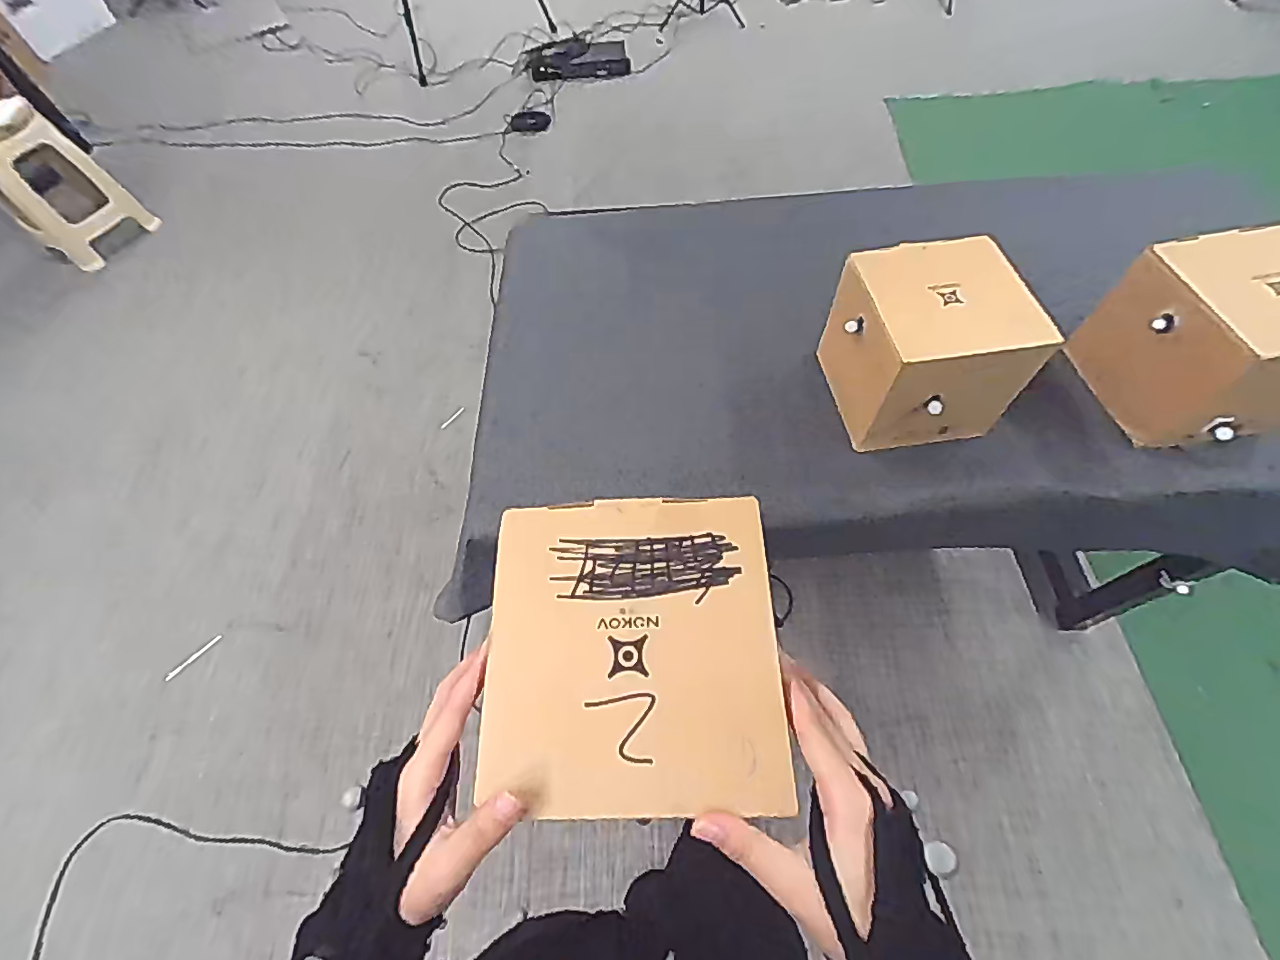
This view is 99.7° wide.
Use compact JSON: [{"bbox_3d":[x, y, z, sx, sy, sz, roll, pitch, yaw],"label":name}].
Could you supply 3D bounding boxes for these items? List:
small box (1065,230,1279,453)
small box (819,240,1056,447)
[{"bbox_3d":[0.659,-0.156,0.633,0.168,0.176,0.179,-10,60,-1],"label":"small box"},{"bbox_3d":[0.334,-0.153,0.651,0.168,0.176,0.179,-8,59,-1],"label":"small box"}]
